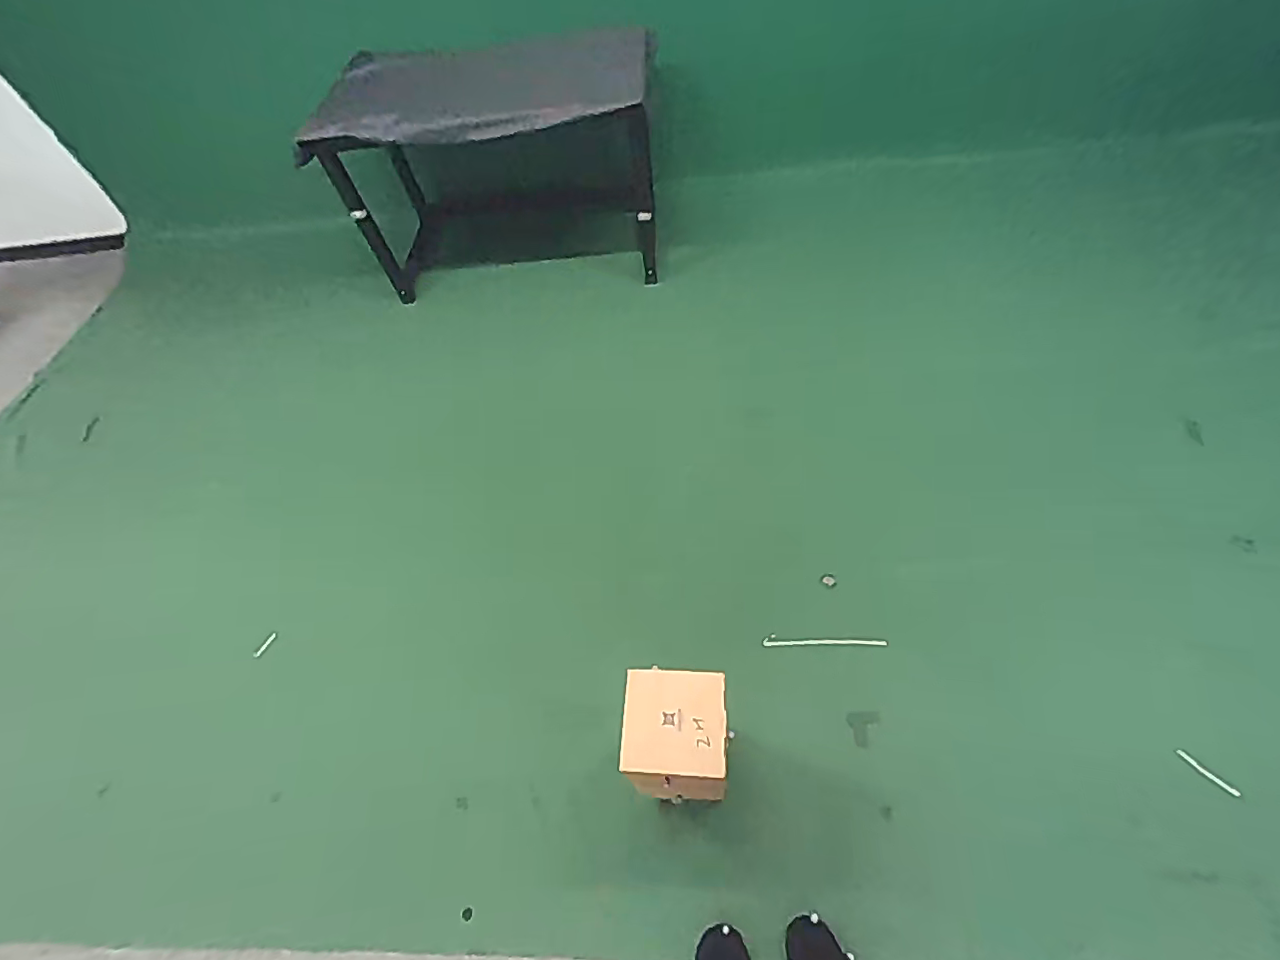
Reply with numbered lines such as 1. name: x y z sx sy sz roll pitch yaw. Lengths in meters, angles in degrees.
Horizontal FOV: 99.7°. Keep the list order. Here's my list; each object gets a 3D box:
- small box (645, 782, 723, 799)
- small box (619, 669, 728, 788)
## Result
1. small box: 0.106 0.630 1.246 0.168 0.176 0.179 -2 55 7
2. small box: 0.069 0.450 0.973 0.179 0.176 0.168 0 56 9
